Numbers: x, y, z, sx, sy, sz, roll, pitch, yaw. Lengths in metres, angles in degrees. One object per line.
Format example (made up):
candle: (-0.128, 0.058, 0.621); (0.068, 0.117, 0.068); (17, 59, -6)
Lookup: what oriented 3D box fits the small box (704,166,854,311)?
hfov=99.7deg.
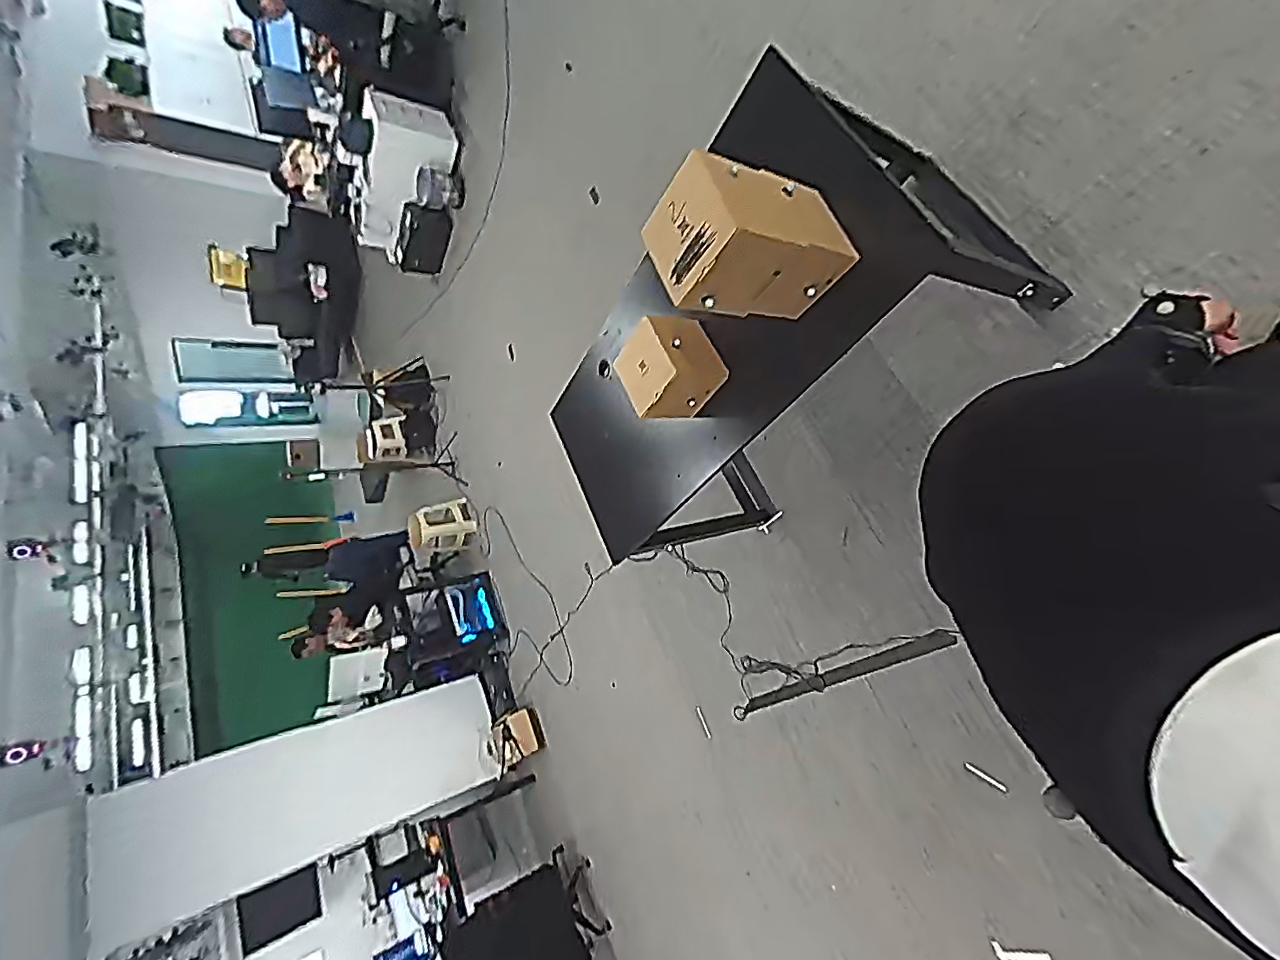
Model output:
small box: (0.255, -0.434, 1.003); (0.168, 0.176, 0.179); (-42, 63, 48)

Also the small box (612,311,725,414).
small box: (0.066, -0.272, 1.279); (0.168, 0.176, 0.179); (-48, 59, 44)
